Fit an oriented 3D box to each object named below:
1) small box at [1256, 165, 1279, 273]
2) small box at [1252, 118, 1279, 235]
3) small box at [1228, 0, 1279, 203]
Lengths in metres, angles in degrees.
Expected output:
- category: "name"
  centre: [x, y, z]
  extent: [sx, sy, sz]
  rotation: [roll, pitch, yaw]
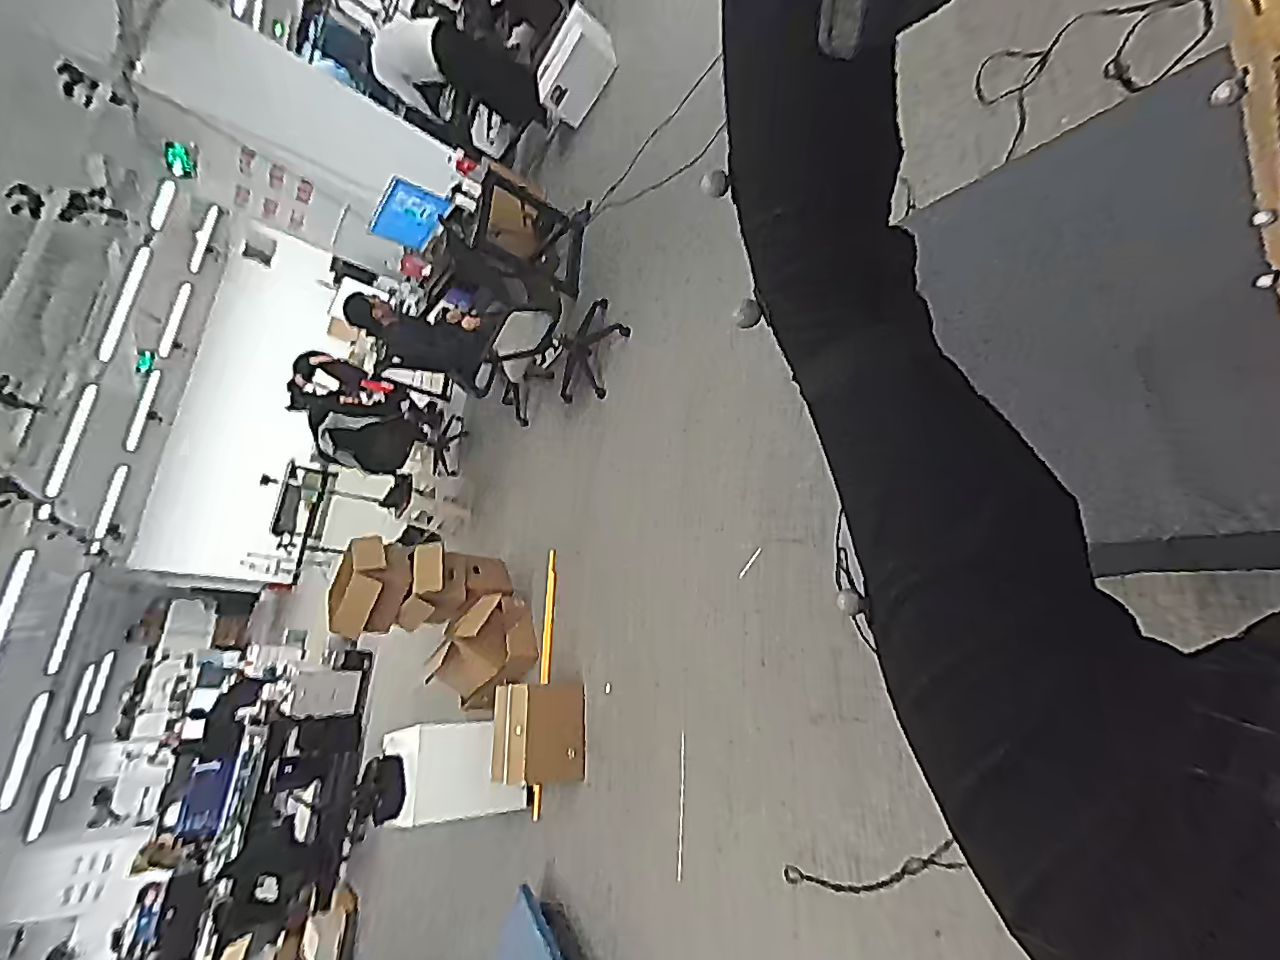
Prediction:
- category: "small box"
  centre: [0.684, -0.211, 0.467]
  extent: [0.168, 0.176, 0.179]
  rotation: [-17, 63, 49]
- category: "small box"
  centre: [0.559, -0.248, 0.371]
  extent: [0.168, 0.176, 0.179]
  rotation: [-16, 64, 49]
- category: "small box"
  centre: [0.433, -0.283, 0.271]
  extent: [0.179, 0.176, 0.168]
  rotation: [-15, 65, 49]
